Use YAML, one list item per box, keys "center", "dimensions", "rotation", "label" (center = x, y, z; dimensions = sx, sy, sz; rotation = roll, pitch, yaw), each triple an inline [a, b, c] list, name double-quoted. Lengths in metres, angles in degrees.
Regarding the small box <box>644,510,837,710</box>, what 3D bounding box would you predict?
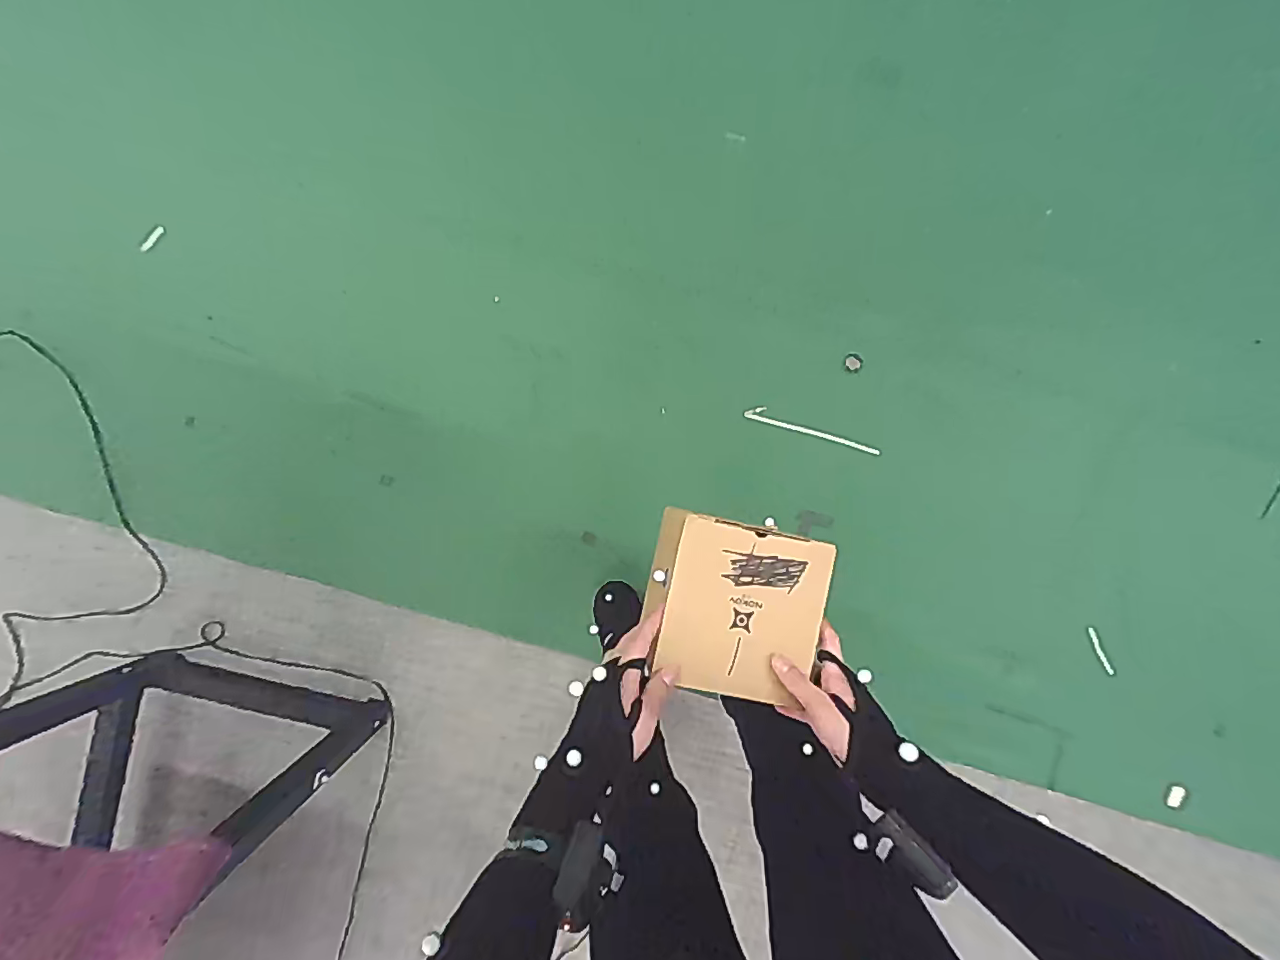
- center: [0.104, 0.137, 0.637]
  dimensions: [0.168, 0.176, 0.179]
  rotation: [13, 89, -4]
  label: "small box"
